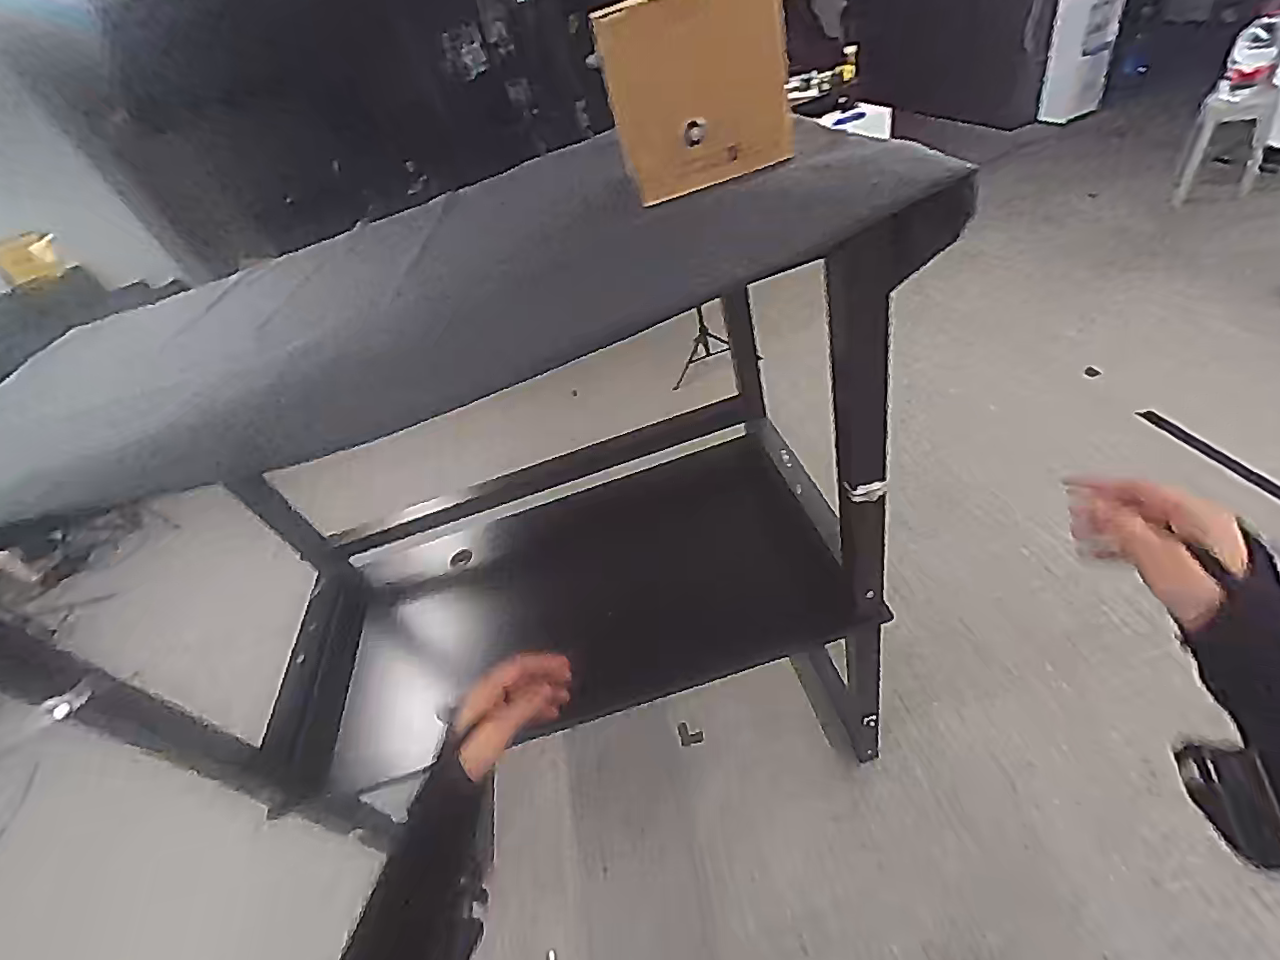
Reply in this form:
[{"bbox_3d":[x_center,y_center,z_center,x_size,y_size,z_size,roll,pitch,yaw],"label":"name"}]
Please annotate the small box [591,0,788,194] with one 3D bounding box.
[{"bbox_3d":[0.051,-0.432,0.581,0.168,0.176,0.179,-16,41,7],"label":"small box"}]
